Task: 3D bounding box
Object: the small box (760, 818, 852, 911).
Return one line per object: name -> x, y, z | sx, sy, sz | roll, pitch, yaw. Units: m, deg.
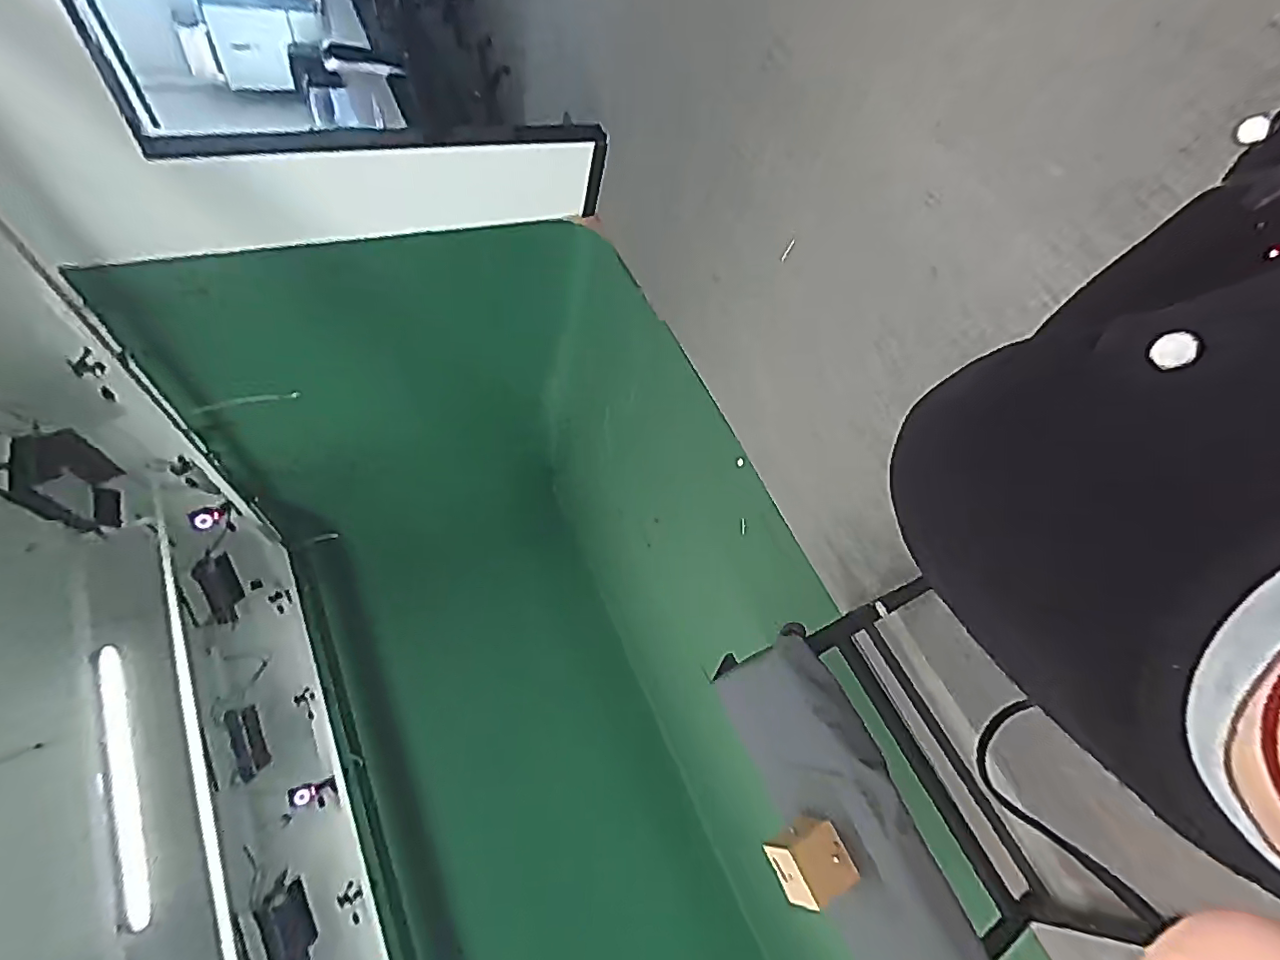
small box -> 0.502, 1.153, 1.637 | 0.168, 0.176, 0.179 | 61, 152, 20
